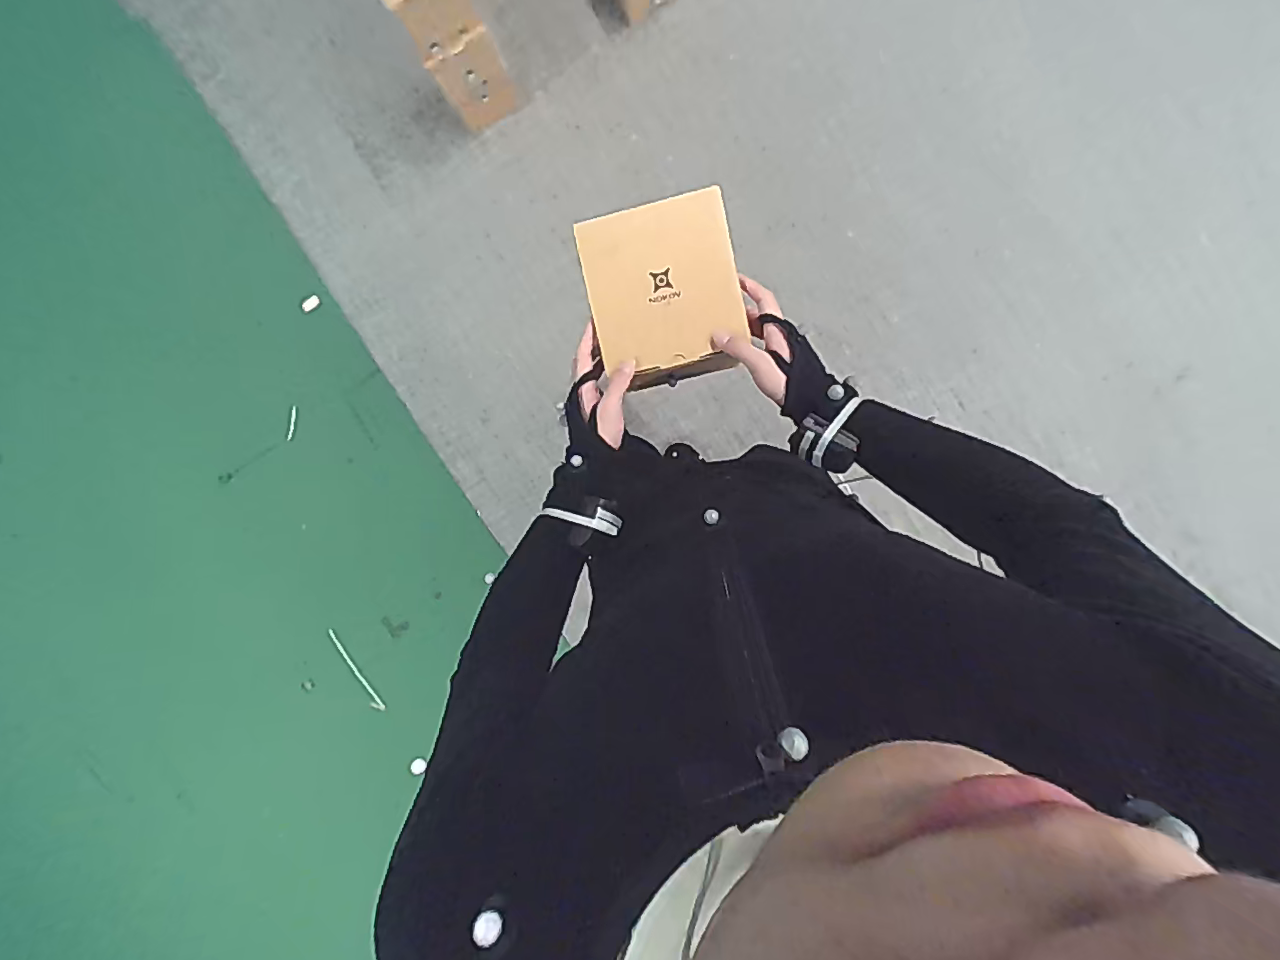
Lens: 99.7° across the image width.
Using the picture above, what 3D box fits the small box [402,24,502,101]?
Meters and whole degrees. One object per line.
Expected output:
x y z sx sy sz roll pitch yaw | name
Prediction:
-0.453 -1.045 1.281 0.168 0.176 0.179 -27 97 6 | small box

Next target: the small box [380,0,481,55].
-0.458 -1.034 1.117 0.168 0.176 0.179 -28 95 6 | small box

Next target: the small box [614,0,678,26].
-0.005 -1.330 1.381 0.168 0.176 0.179 -20 97 8 | small box

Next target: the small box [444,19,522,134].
-0.442 -1.073 1.442 0.179 0.176 0.168 -27 96 6 | small box
